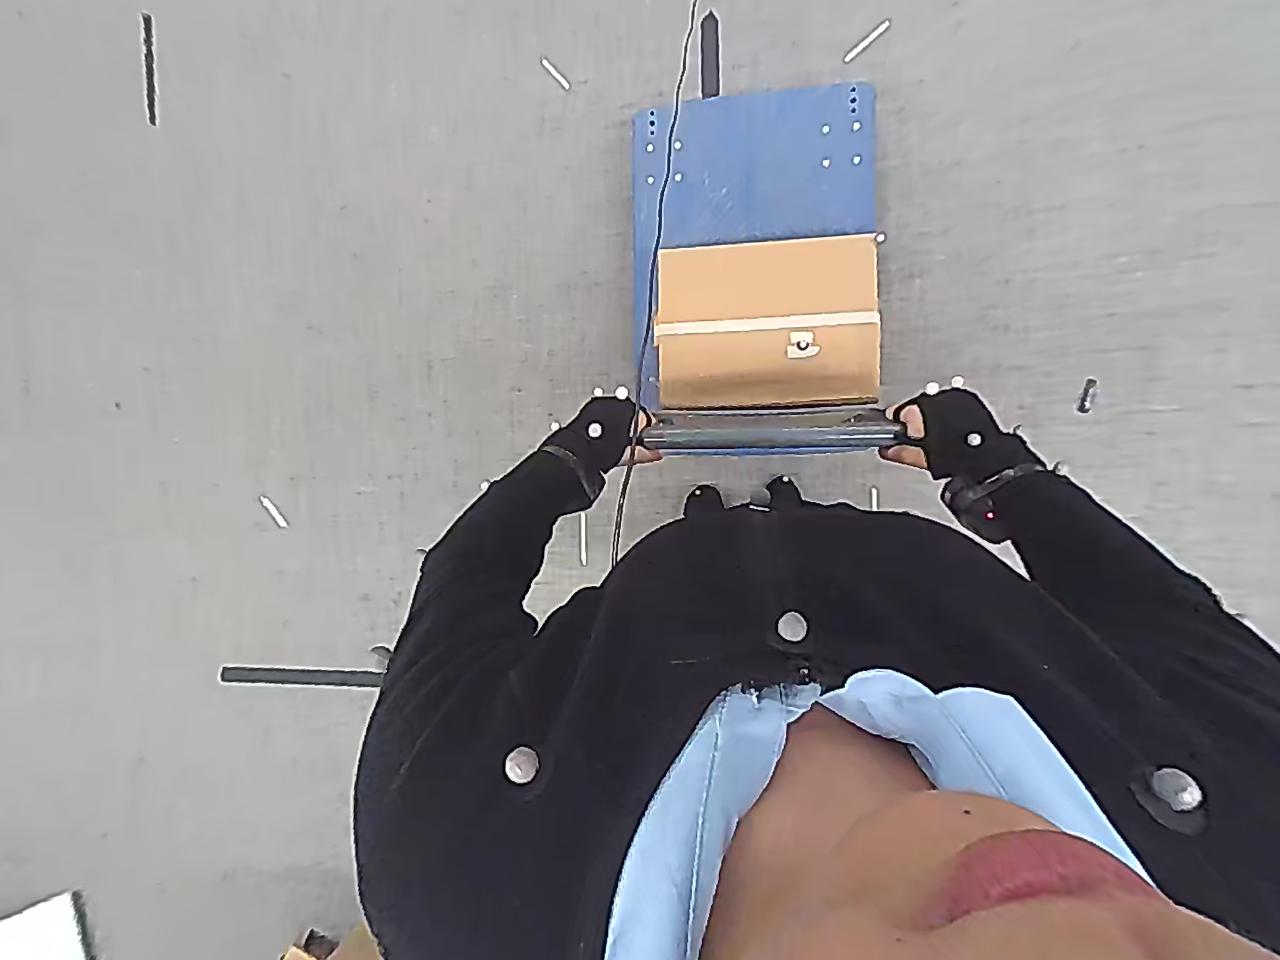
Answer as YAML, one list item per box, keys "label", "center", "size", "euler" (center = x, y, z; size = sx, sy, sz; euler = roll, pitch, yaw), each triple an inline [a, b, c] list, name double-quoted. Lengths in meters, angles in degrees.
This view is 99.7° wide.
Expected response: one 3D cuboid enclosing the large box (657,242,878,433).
- label: "large box"
  center: [0.252, -0.276, 1.160]
  size: [0.408, 0.320, 0.320]
  euler: [-1, 90, 8]
